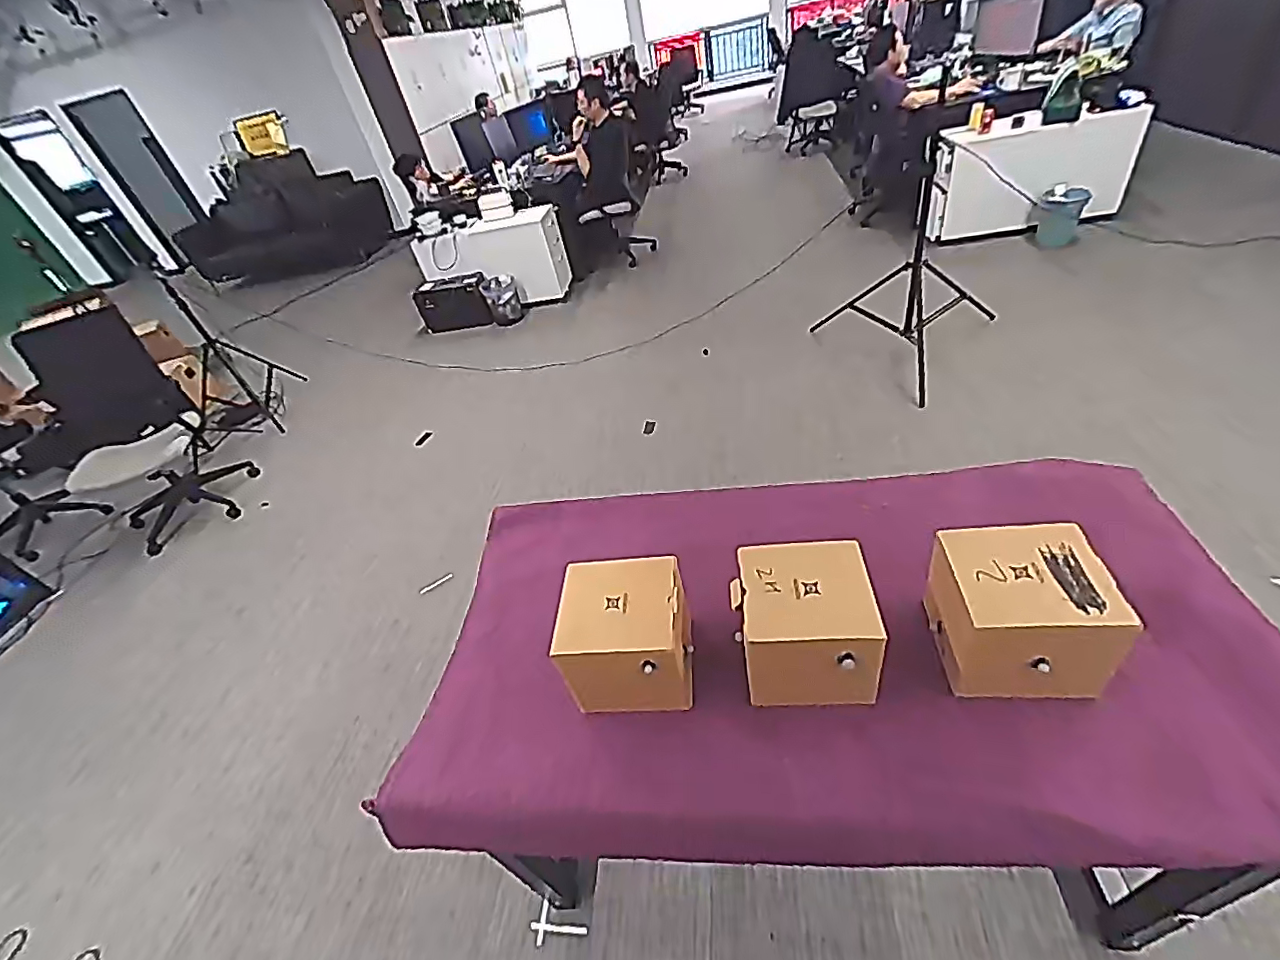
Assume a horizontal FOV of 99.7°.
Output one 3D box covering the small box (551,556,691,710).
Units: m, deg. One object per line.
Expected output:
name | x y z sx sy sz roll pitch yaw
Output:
small box | -0.018 0.240 0.838 0.179 0.176 0.168 -6 40 9

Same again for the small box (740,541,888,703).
small box | 0.243 0.210 0.792 0.179 0.176 0.168 -6 40 11
